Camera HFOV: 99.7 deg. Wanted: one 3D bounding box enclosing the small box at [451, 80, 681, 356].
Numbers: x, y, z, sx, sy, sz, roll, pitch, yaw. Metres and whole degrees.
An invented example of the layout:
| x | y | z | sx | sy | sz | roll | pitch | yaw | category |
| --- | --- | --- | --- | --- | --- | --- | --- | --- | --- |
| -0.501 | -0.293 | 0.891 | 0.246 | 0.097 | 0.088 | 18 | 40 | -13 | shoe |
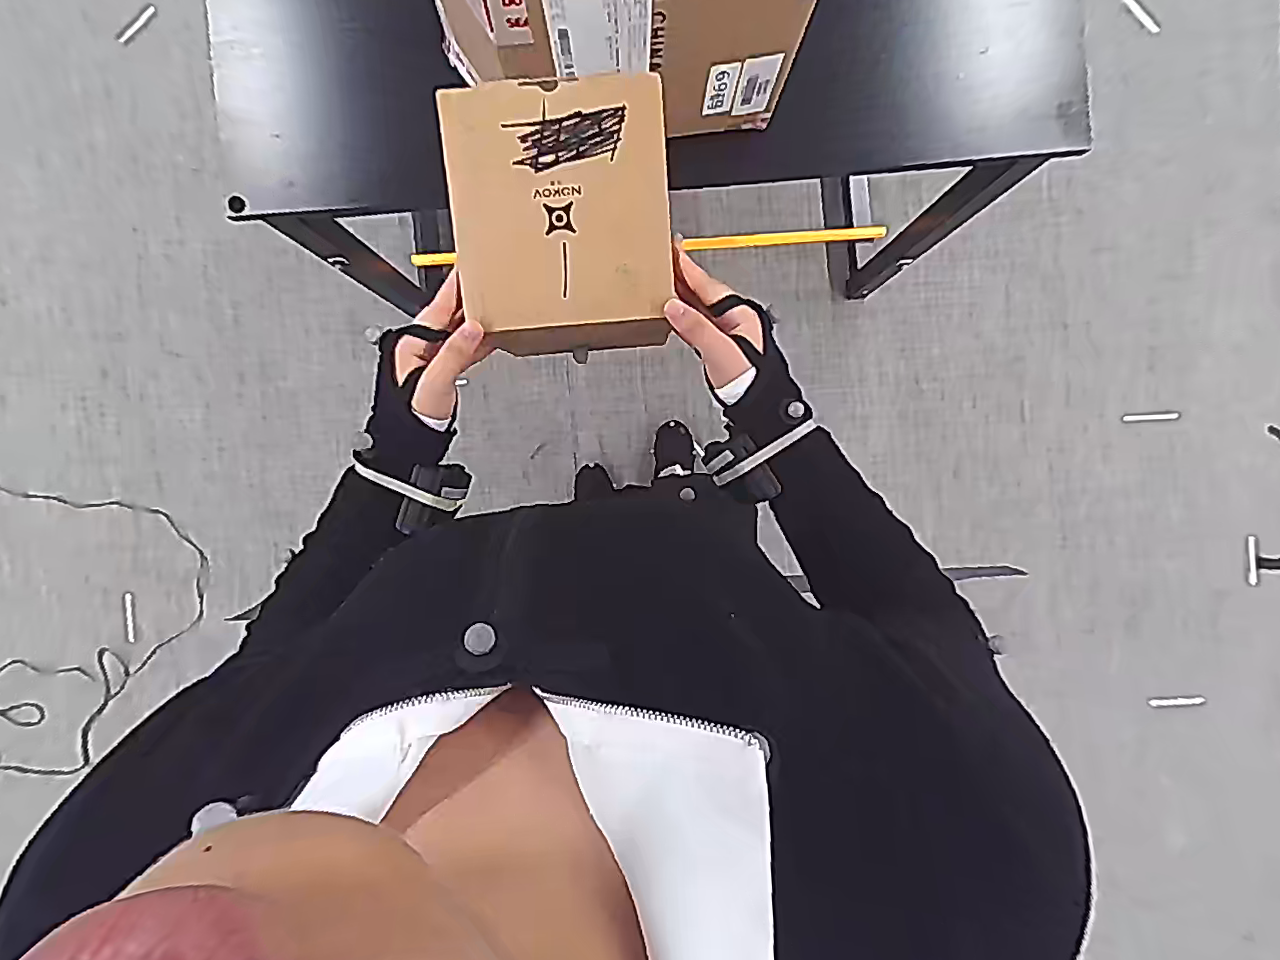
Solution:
| x | y | z | sx | sy | sz | roll | pitch | yaw | category |
| --- | --- | --- | --- | --- | --- | --- | --- | --- | --- |
| -0.056 | -0.215 | 0.488 | 0.168 | 0.176 | 0.179 | -4 | 97 | 0 | small box |
